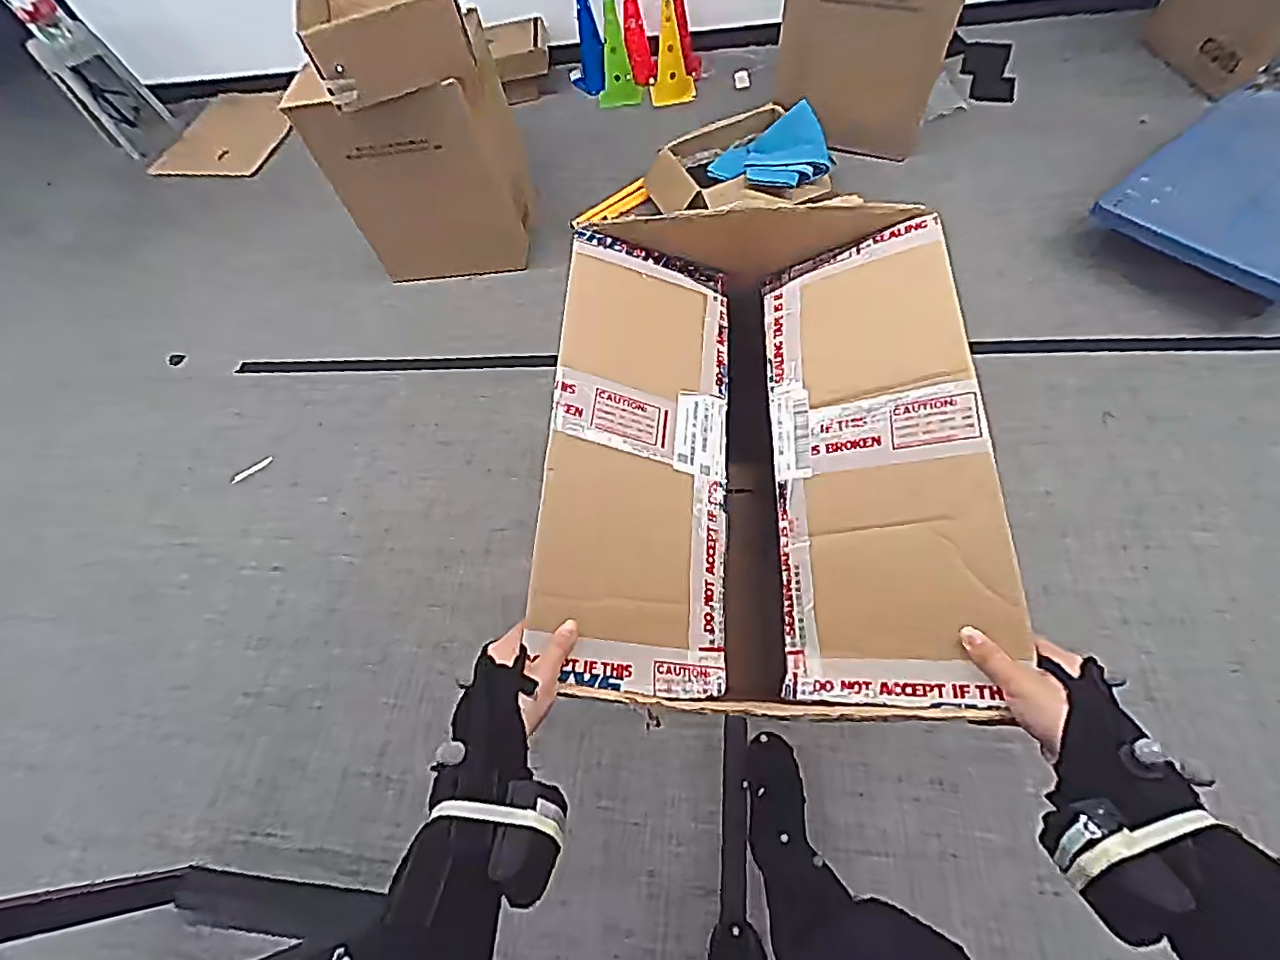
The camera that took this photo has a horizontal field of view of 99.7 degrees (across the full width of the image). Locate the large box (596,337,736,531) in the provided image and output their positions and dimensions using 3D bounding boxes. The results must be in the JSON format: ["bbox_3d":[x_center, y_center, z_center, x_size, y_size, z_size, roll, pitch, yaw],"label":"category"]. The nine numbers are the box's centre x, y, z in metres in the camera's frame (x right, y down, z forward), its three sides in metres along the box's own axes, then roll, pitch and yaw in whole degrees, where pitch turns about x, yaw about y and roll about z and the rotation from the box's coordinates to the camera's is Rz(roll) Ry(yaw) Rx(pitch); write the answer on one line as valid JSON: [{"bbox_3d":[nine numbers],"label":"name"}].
[{"bbox_3d":[0.078,-0.110,1.396,0.320,0.320,0.408,0,62,8],"label":"large box"}]
